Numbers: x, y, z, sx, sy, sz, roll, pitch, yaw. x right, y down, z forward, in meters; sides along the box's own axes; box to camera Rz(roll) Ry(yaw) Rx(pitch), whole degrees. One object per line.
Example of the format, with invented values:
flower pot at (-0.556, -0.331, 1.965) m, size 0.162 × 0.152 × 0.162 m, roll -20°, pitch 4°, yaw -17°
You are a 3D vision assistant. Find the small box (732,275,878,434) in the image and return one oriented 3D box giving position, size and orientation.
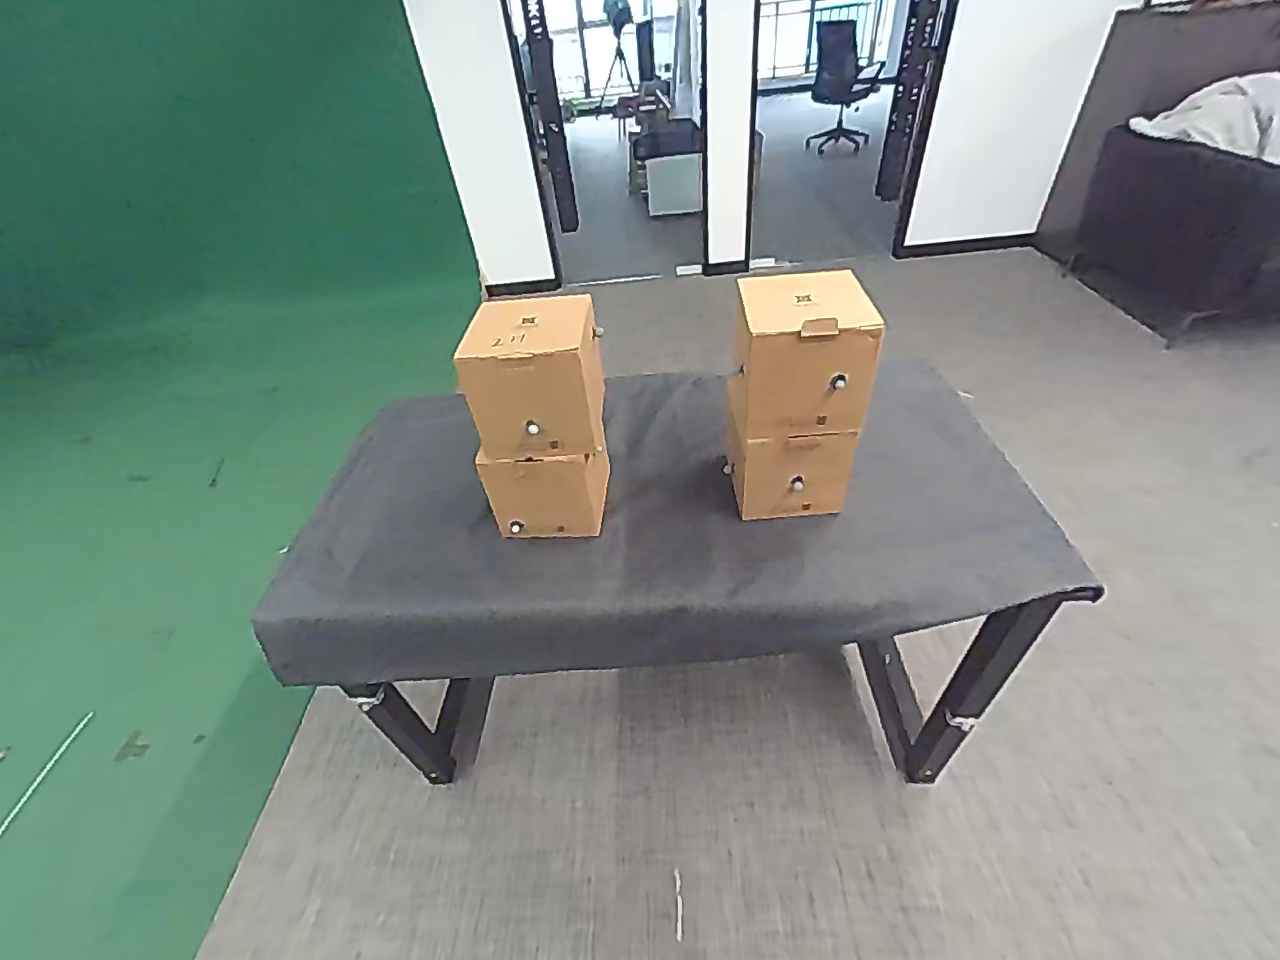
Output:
small box at (0.225, -0.177, 0.785) m, size 0.168 × 0.176 × 0.179 m, roll -2°, pitch 41°, yaw 4°

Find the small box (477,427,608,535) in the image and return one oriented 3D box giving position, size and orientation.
small box at (-0.150, -0.022, 0.907) m, size 0.168 × 0.176 × 0.179 m, roll -1°, pitch 41°, yaw 6°

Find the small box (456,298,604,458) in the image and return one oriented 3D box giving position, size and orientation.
small box at (-0.149, -0.151, 0.803) m, size 0.168 × 0.176 × 0.179 m, roll -4°, pitch 41°, yaw 4°

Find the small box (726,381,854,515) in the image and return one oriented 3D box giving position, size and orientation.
small box at (0.235, -0.055, 0.893) m, size 0.168 × 0.176 × 0.179 m, roll -5°, pitch 42°, yaw 2°
